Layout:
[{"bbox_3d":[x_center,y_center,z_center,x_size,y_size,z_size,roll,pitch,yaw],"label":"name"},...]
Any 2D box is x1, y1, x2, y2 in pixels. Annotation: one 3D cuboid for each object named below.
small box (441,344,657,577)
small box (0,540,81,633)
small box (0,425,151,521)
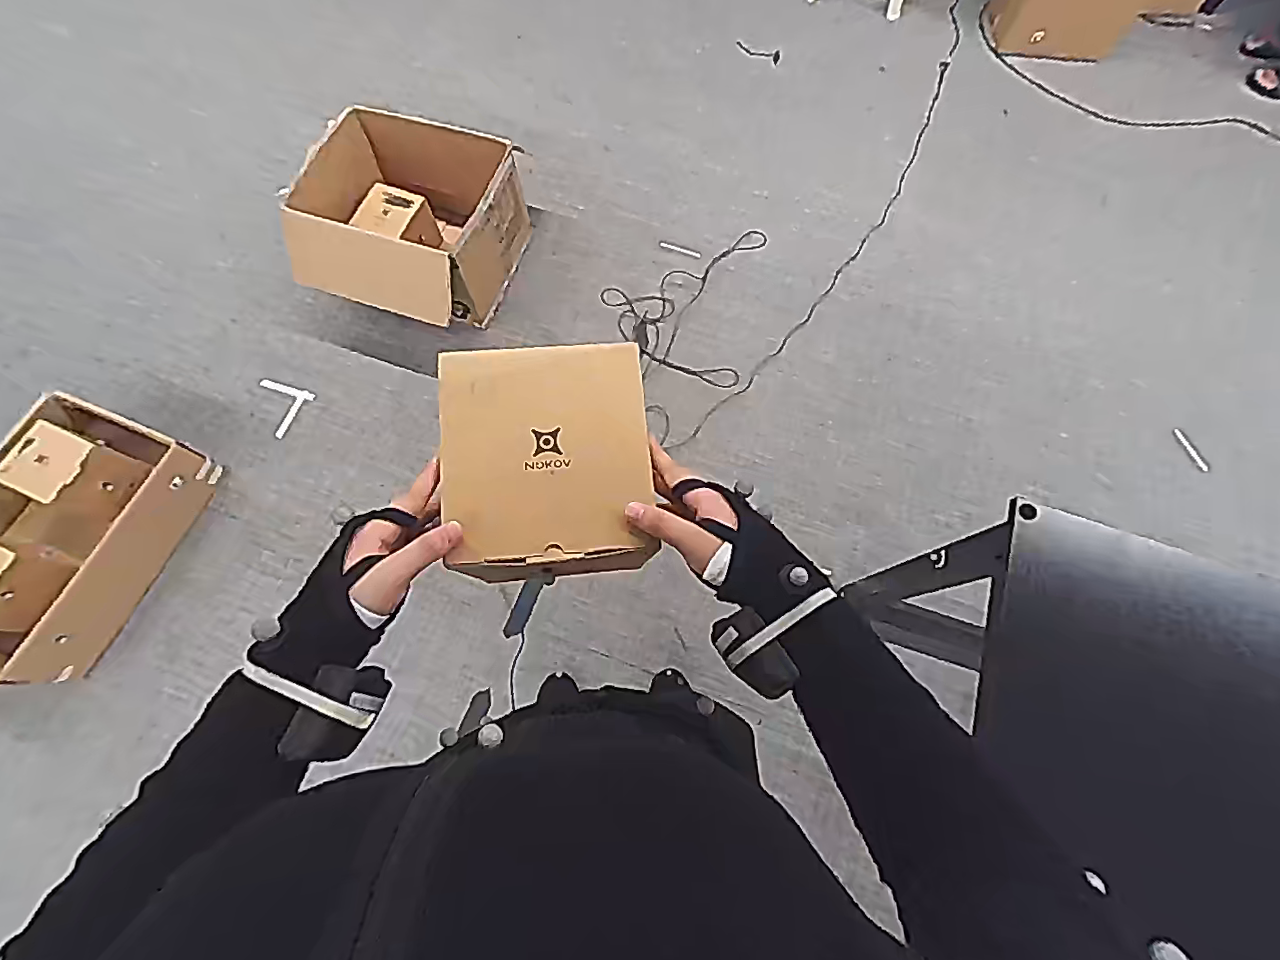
[{"bbox_3d":[-0.083,-0.008,0.509,0.168,0.176,0.179,-5,77,-6],"label":"small box"},{"bbox_3d":[-1.513,0.249,1.280,0.168,0.176,0.179,21,70,4],"label":"small box"},{"bbox_3d":[-1.420,-0.009,1.374,0.179,0.176,0.168,23,73,6],"label":"small box"}]
